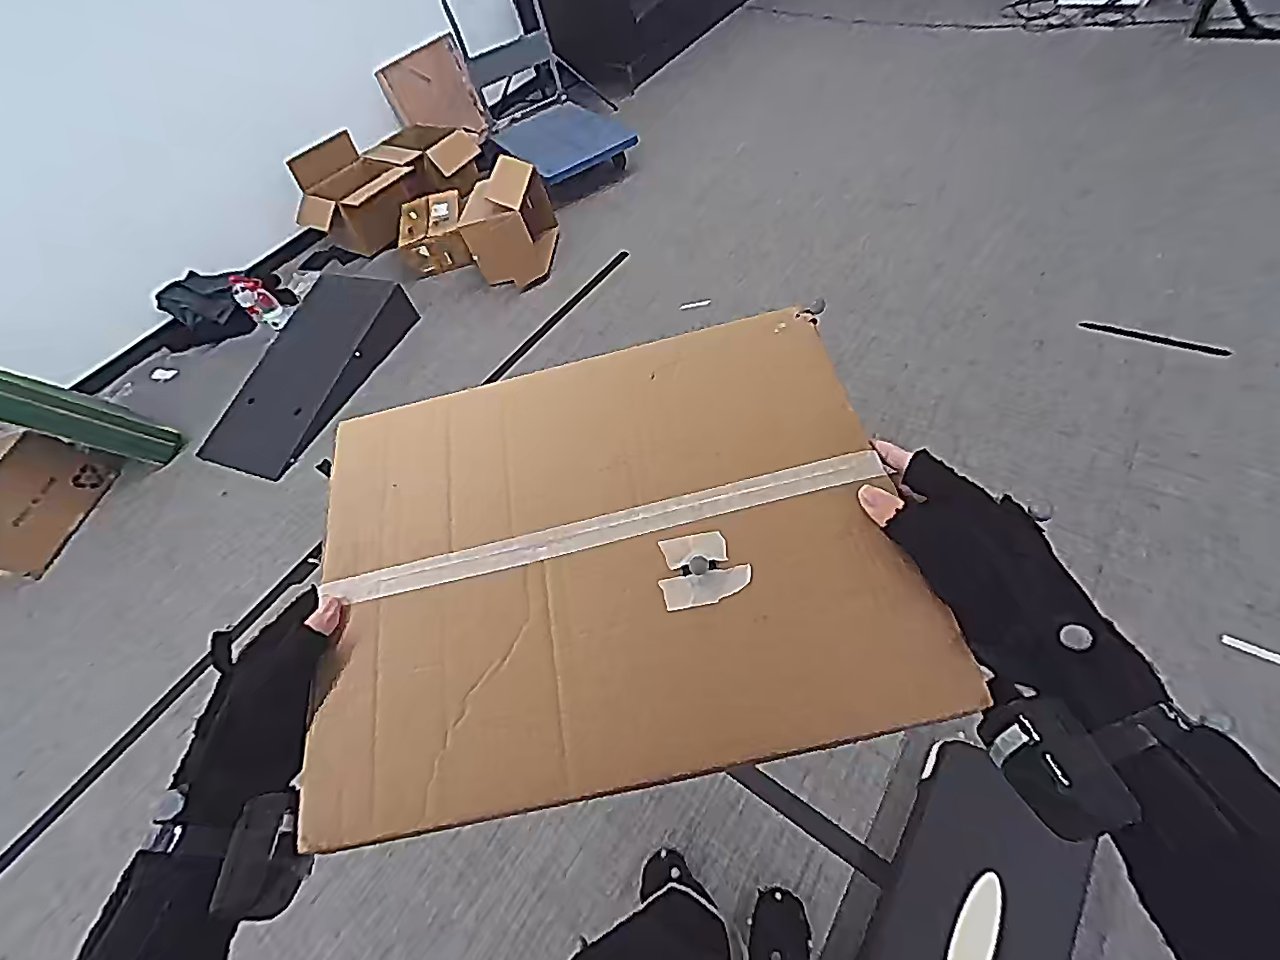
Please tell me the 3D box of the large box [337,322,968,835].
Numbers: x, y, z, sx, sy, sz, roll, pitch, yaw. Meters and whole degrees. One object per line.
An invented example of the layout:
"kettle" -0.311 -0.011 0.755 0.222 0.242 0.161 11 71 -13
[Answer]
"large box" -0.004 0.110 0.526 0.408 0.320 0.320 -13 62 2
